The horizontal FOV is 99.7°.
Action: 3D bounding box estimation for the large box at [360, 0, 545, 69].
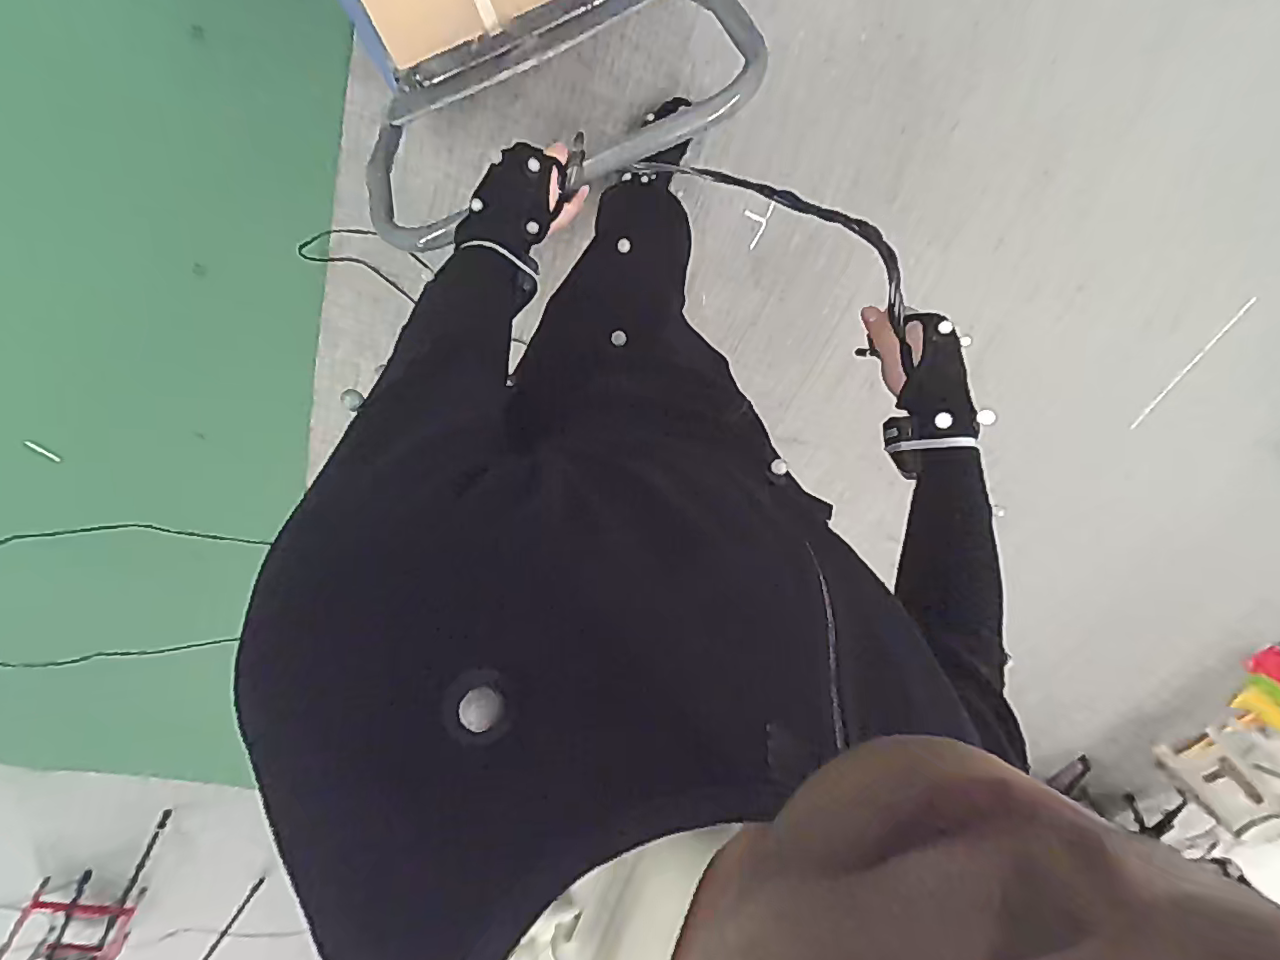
[{"bbox_3d":[-0.306,-0.894,0.760,0.320,0.320,0.408,-20,135,6],"label":"large box"}]
